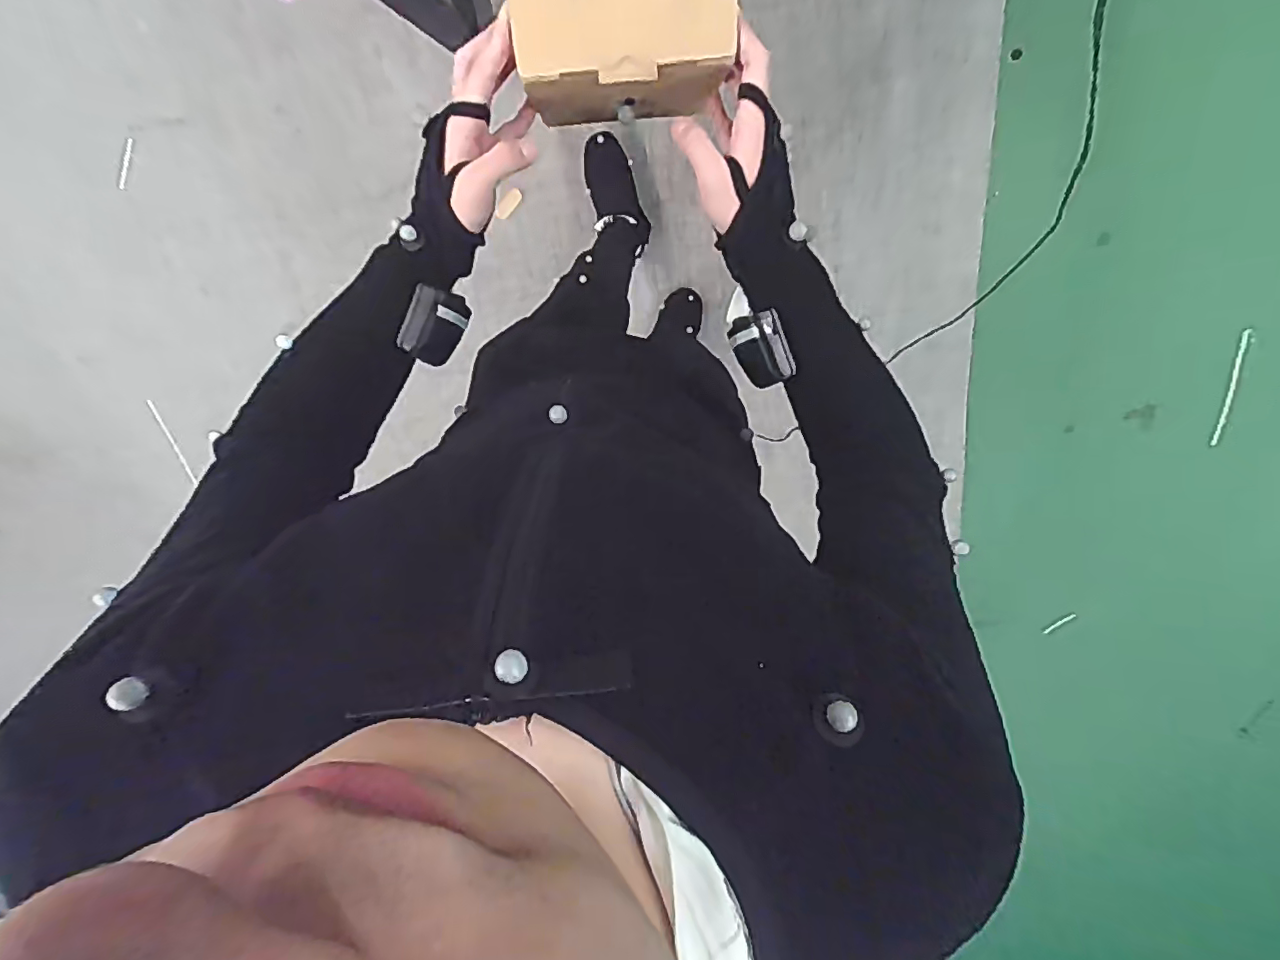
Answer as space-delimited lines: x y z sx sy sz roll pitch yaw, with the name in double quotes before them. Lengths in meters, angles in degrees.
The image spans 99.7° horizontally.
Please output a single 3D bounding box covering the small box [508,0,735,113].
"small box" -0.018 -0.417 0.441 0.168 0.176 0.179 -5 115 0
